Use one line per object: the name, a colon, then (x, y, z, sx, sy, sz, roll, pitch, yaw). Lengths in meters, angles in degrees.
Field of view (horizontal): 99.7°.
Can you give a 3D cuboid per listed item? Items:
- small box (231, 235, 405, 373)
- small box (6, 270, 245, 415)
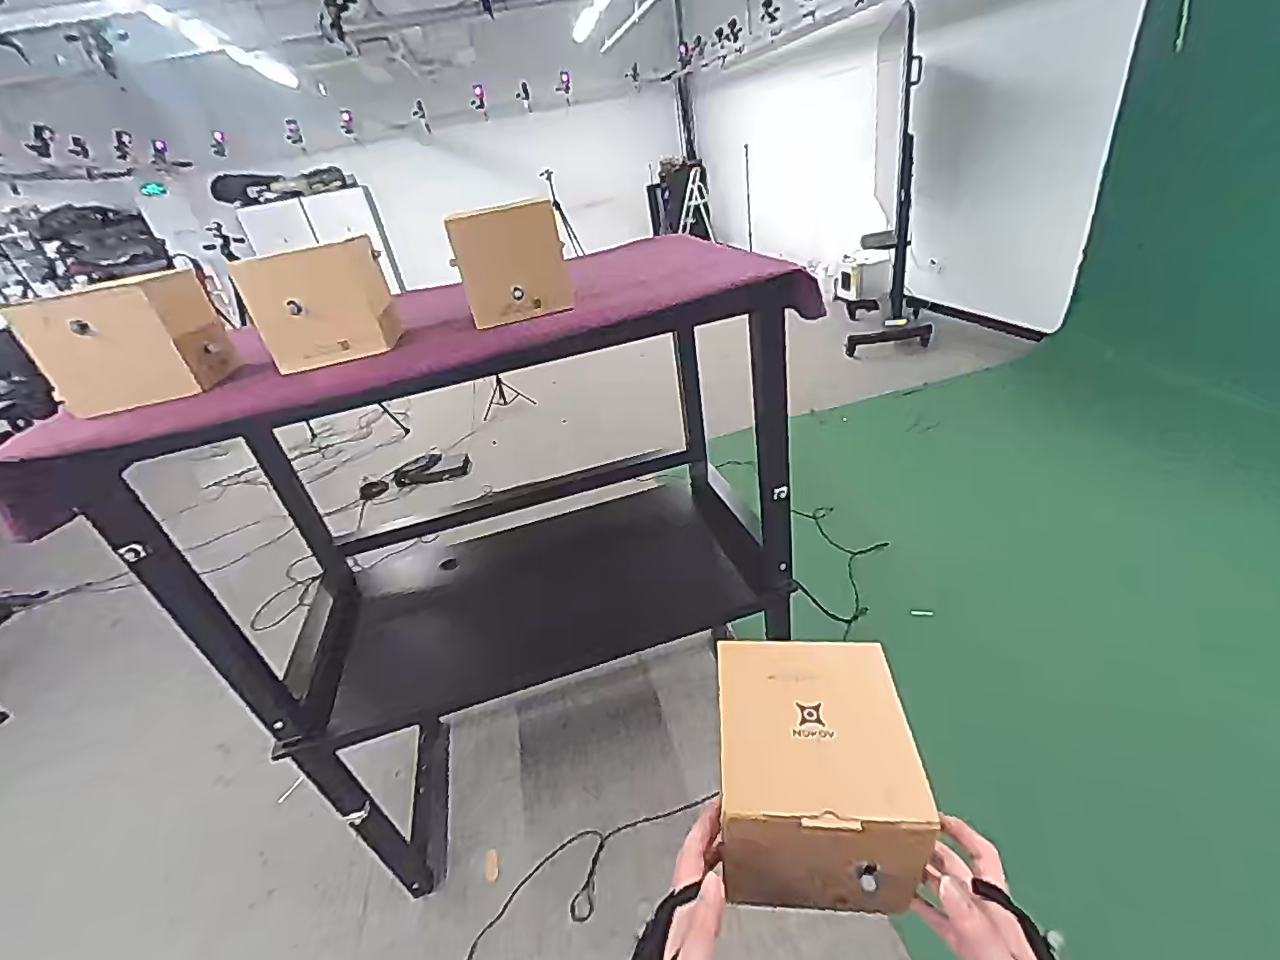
small box: (-0.499, -0.283, 0.873, 0.168, 0.176, 0.179, -15, 29, -7)
small box: (-0.771, -0.214, 0.839, 0.179, 0.176, 0.168, -14, 30, -8)
